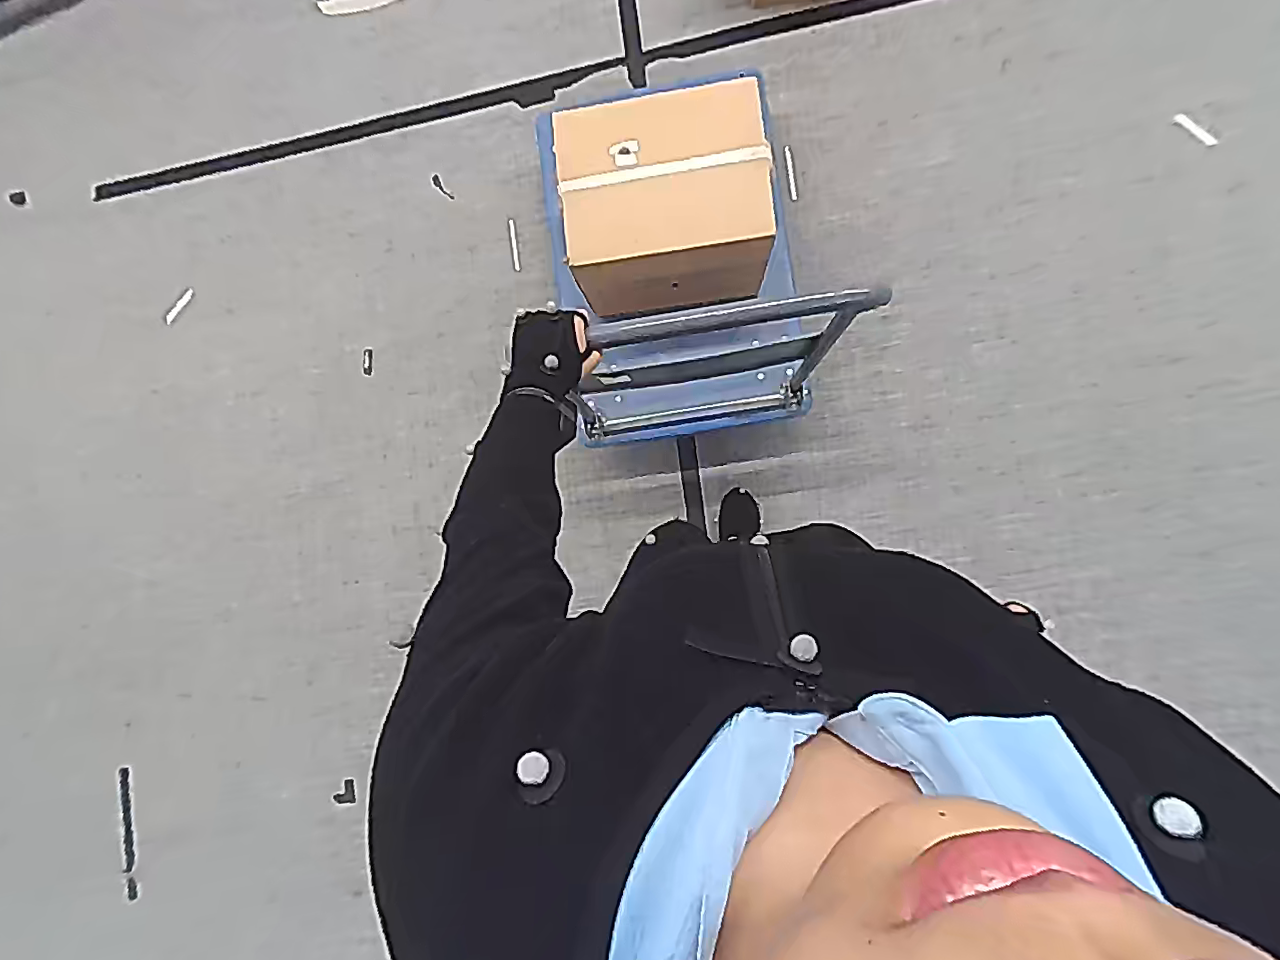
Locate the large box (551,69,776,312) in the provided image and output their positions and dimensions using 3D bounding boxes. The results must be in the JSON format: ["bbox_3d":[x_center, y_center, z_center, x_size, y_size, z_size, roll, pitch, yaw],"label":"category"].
[{"bbox_3d":[0.057,-0.590,1.175,0.408,0.320,0.320,-7,87,7],"label":"large box"}]
